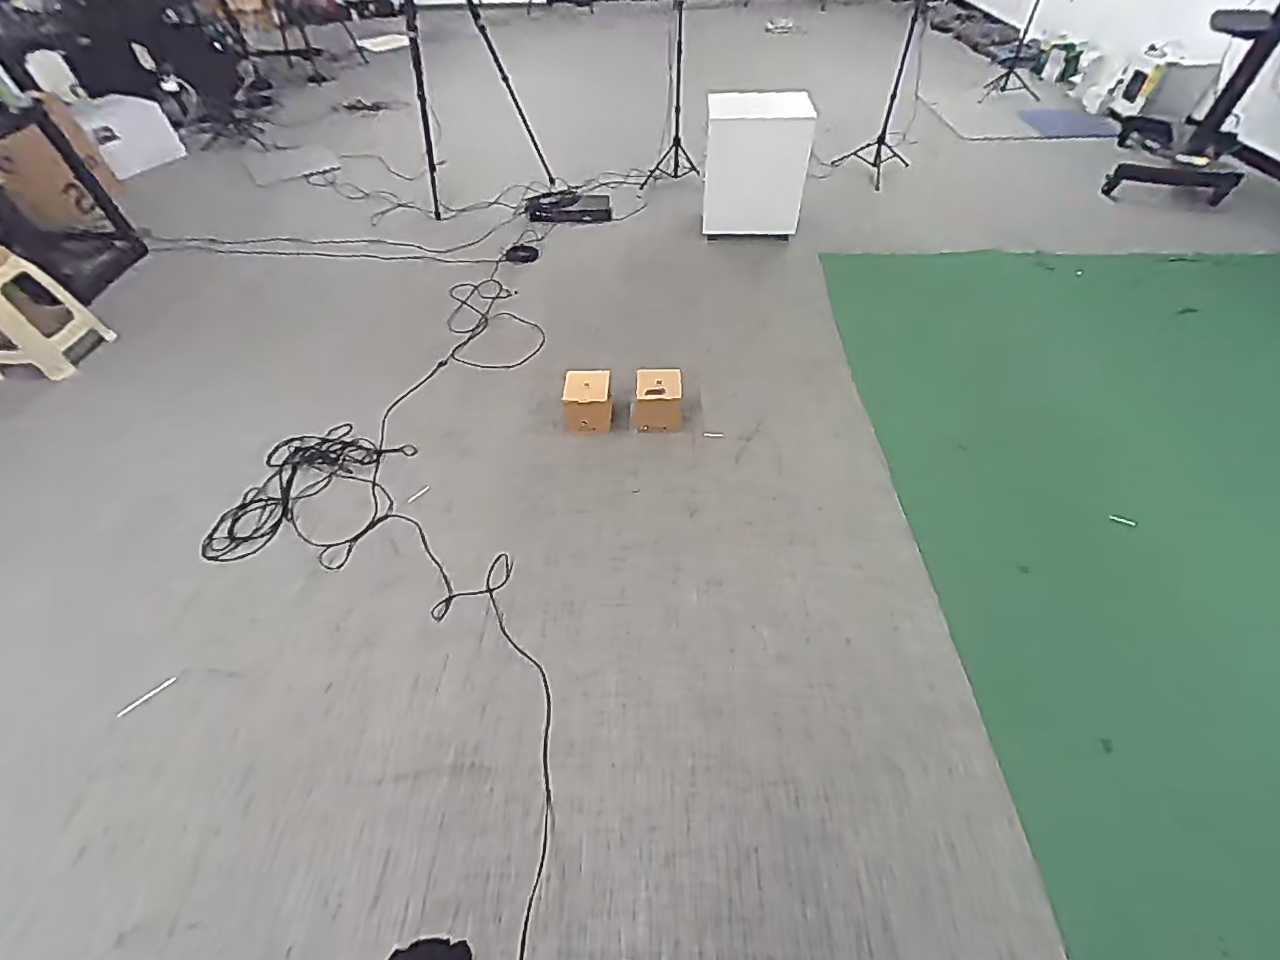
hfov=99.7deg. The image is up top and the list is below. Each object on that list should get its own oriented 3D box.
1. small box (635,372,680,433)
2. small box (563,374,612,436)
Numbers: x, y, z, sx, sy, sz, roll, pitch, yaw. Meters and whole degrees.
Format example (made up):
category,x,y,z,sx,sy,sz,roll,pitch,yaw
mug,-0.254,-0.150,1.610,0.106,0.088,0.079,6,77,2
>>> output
category,x,y,z,sx,sy,sz,roll,pitch,yaw
small box,0.069,-0.296,2.076,0.168,0.176,0.179,-1,49,2
small box,-0.197,-0.290,2.083,0.168,0.176,0.179,0,50,2
